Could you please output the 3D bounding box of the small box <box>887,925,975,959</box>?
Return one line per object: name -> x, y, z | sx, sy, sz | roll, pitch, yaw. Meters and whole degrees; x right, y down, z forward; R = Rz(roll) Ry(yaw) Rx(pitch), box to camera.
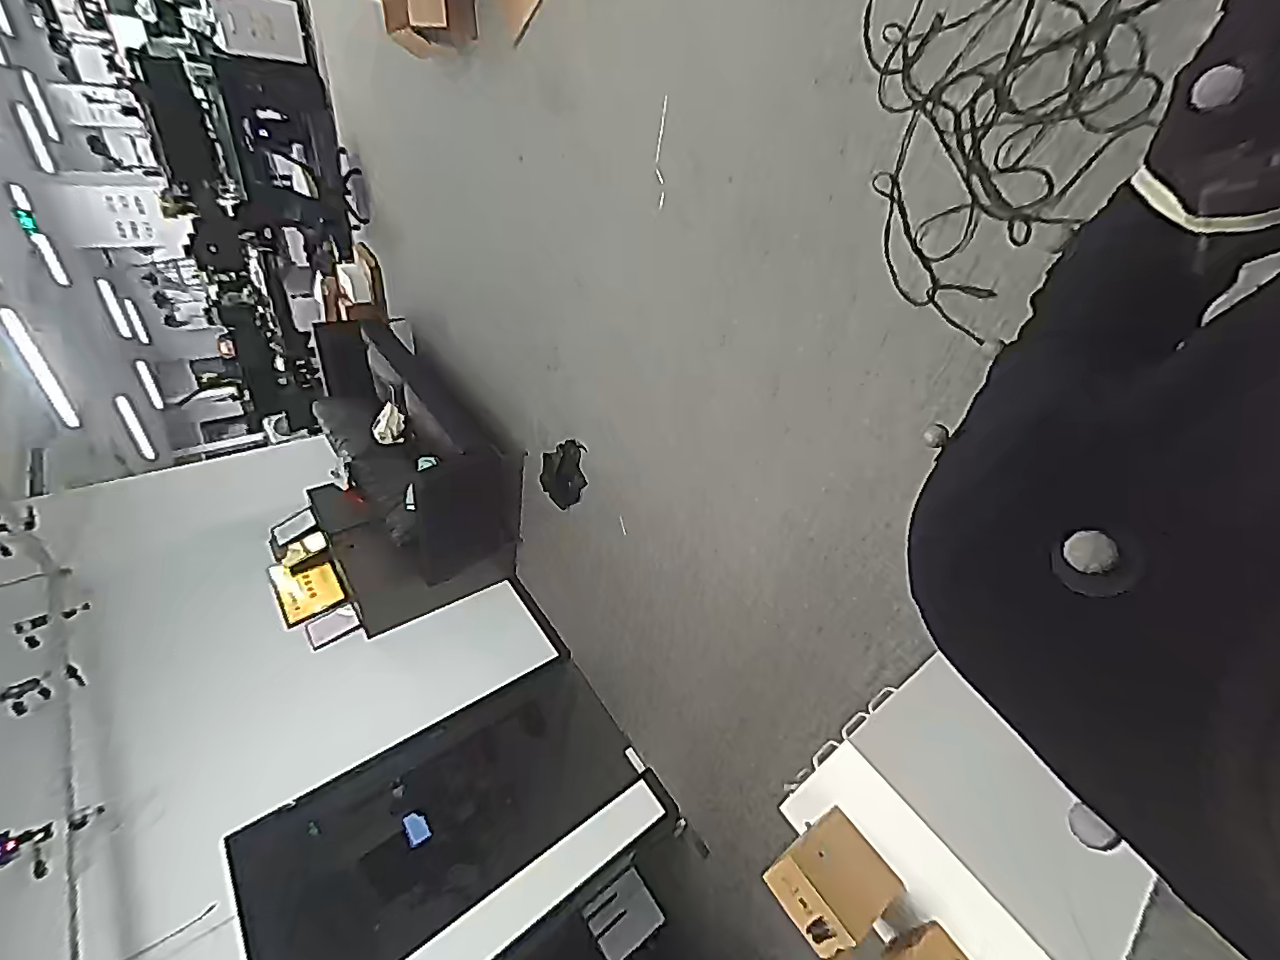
small box -> 0.554, 0.988, 1.011 | 0.168, 0.176, 0.179 | 47, 139, 32
